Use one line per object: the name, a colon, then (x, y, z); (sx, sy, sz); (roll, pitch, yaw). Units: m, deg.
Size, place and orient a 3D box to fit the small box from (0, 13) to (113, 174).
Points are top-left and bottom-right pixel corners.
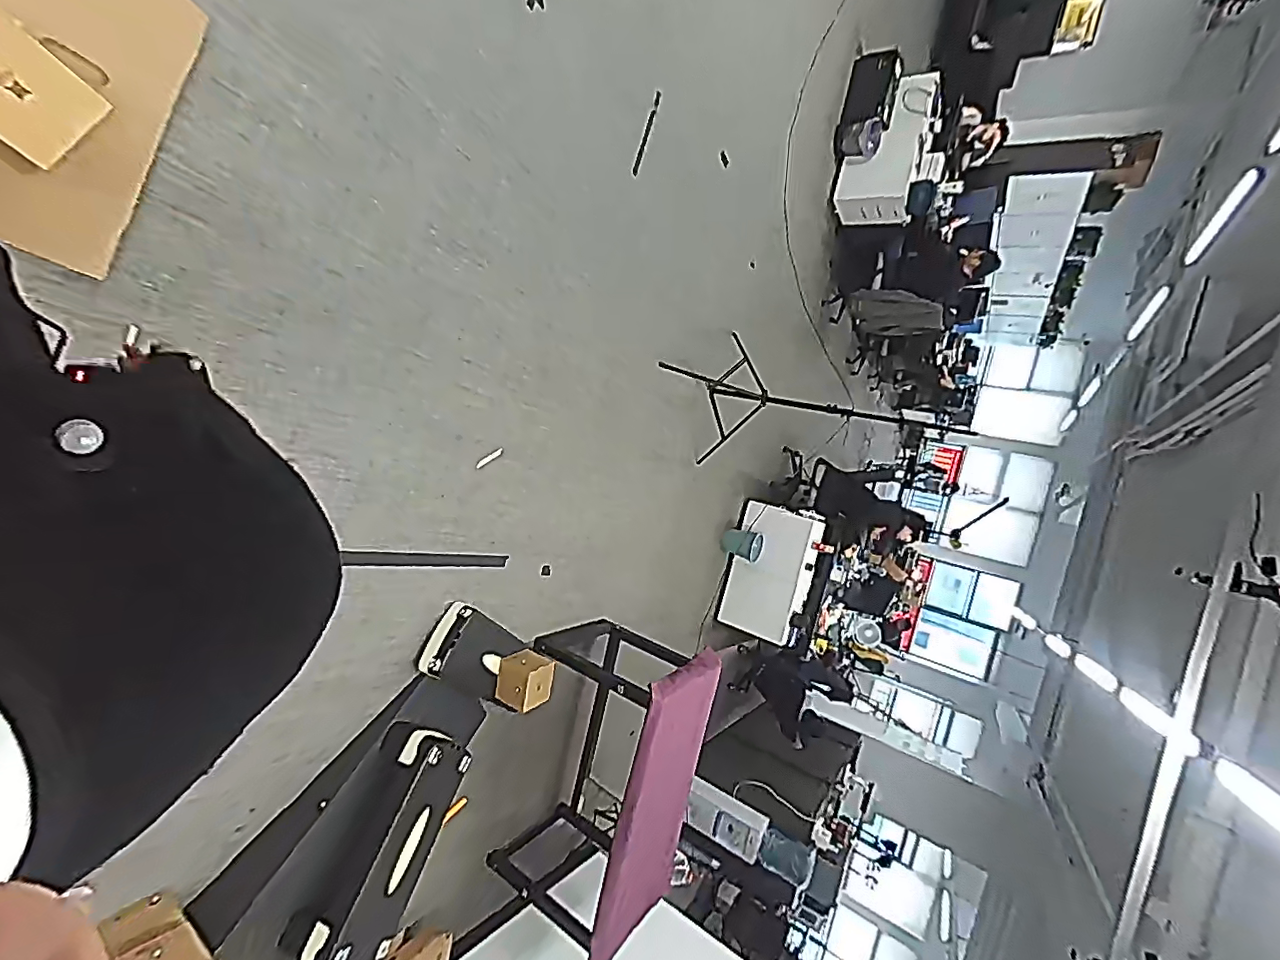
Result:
small box: (-1.075, -0.653, 0.923); (0.168, 0.176, 0.179); (-62, 143, -15)
